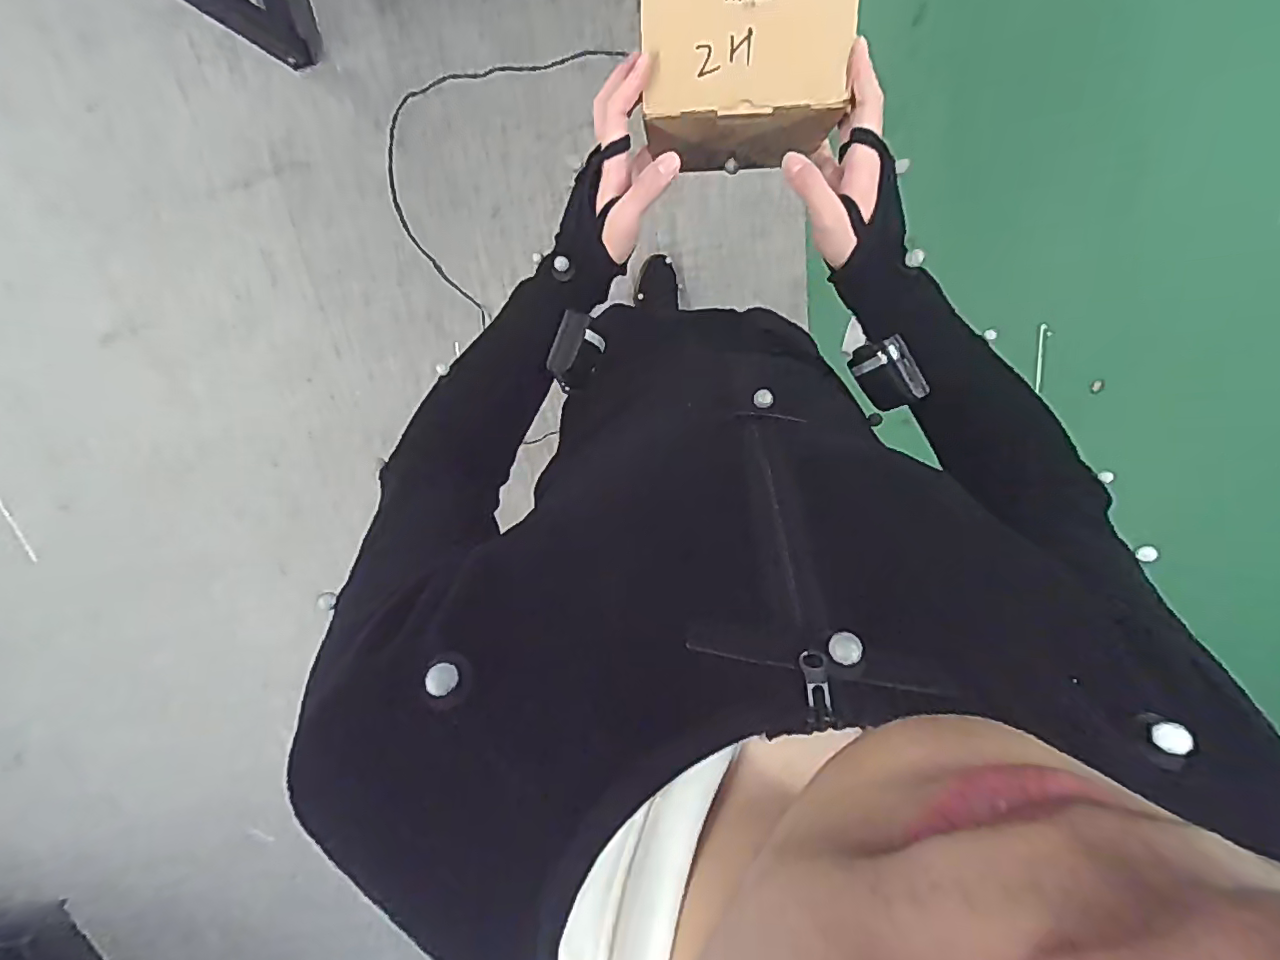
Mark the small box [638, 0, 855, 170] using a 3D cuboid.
[{"bbox_3d":[0.087,-0.400,0.483,0.168,0.176,0.179,1,105,6],"label":"small box"}]
